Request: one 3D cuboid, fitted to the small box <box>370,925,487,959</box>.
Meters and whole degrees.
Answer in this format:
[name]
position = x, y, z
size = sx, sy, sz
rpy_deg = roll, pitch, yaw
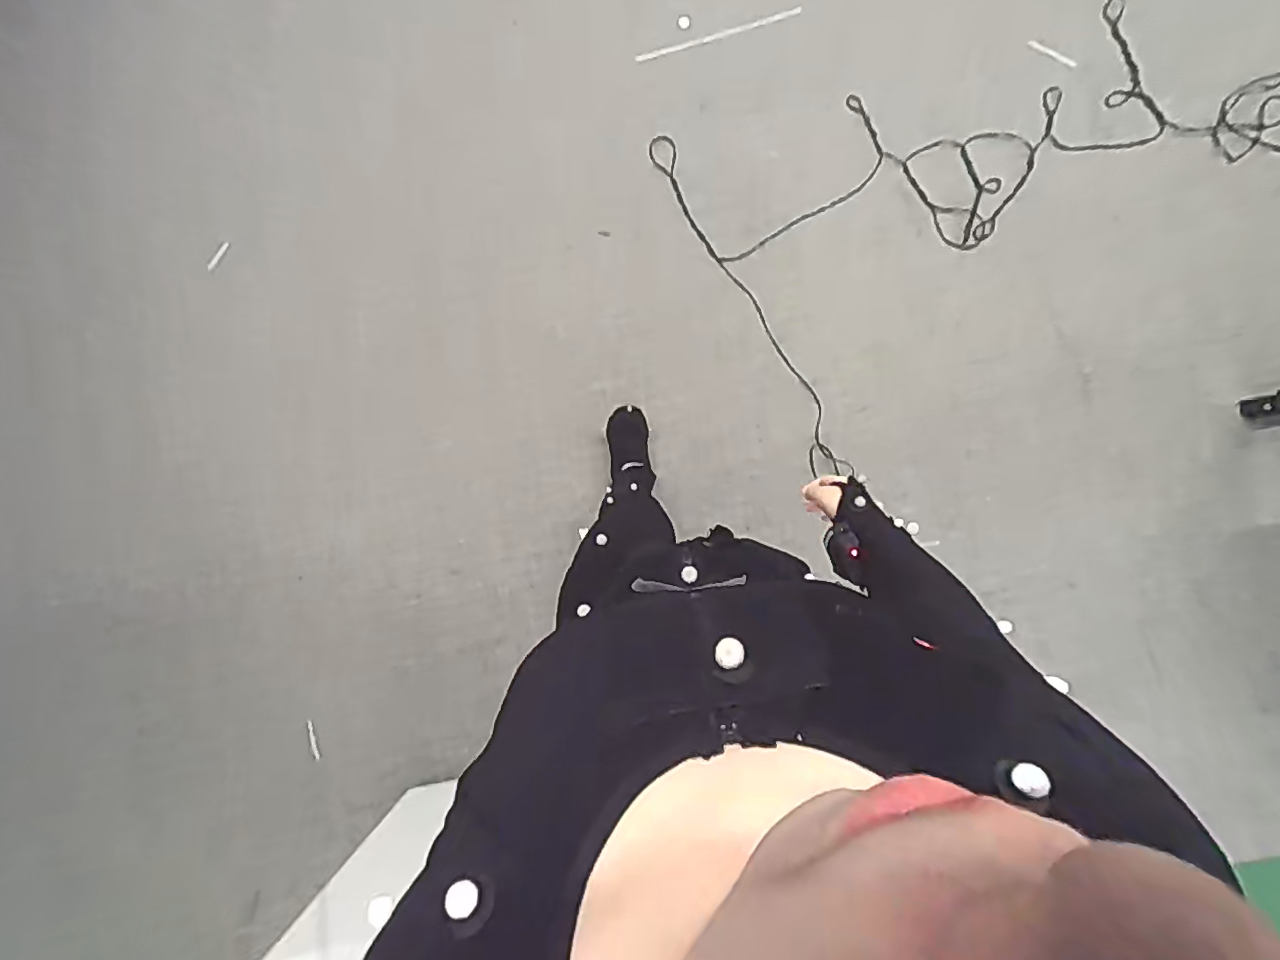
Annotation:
[small box]
position = -0.332, 0.813, 0.807
size = 0.168, 0.176, 0.179
rpy_deg = -13, 90, 3
